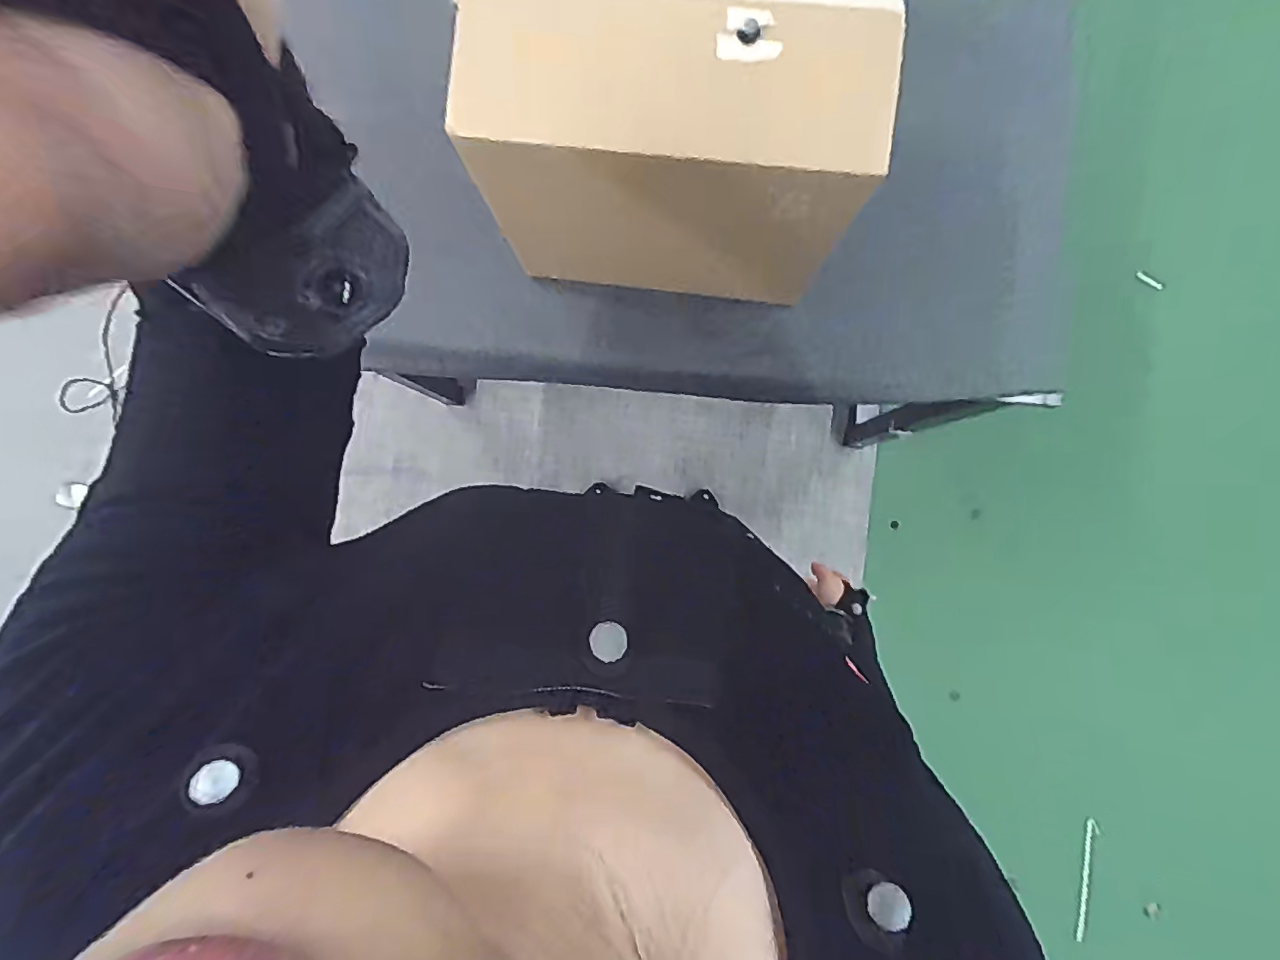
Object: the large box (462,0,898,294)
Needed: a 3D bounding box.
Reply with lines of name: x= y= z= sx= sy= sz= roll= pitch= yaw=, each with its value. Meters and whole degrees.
large box: x=0.044 y=-0.447 z=0.657 sx=0.408 sy=0.320 sz=0.320 roll=6 pitch=88 yaw=2
